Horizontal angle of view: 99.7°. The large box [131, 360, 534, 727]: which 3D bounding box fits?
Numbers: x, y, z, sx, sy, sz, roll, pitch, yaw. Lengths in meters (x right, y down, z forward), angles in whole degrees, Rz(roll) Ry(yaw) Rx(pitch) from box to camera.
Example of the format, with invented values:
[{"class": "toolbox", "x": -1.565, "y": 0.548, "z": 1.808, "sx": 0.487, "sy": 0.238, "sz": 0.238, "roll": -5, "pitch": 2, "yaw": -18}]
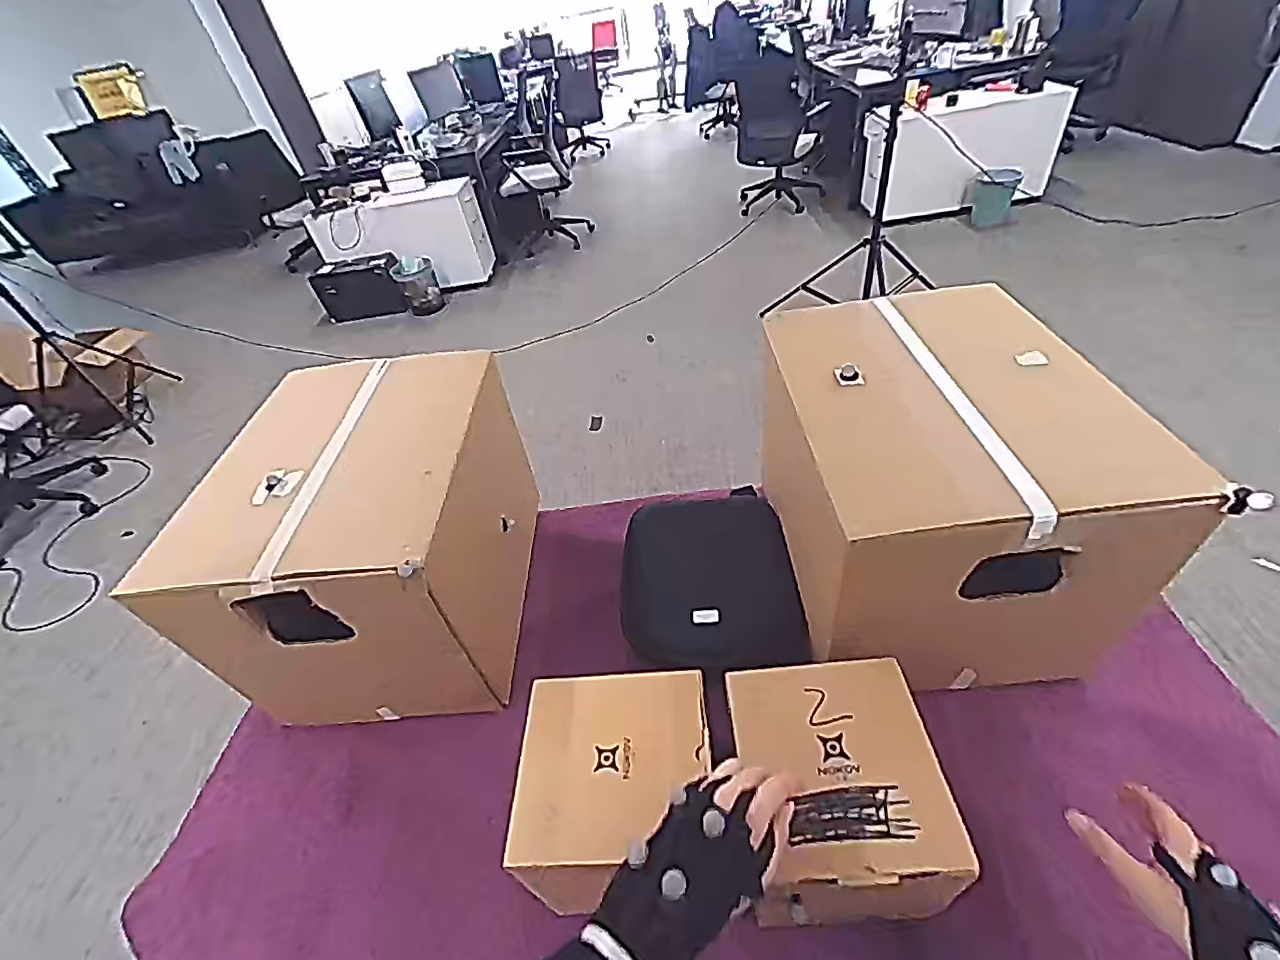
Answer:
[{"class": "large box", "x": -0.346, "y": 0.079, "z": 0.767, "sx": 0.320, "sy": 0.320, "sz": 0.408, "roll": -7, "pitch": 44, "yaw": 3}]
